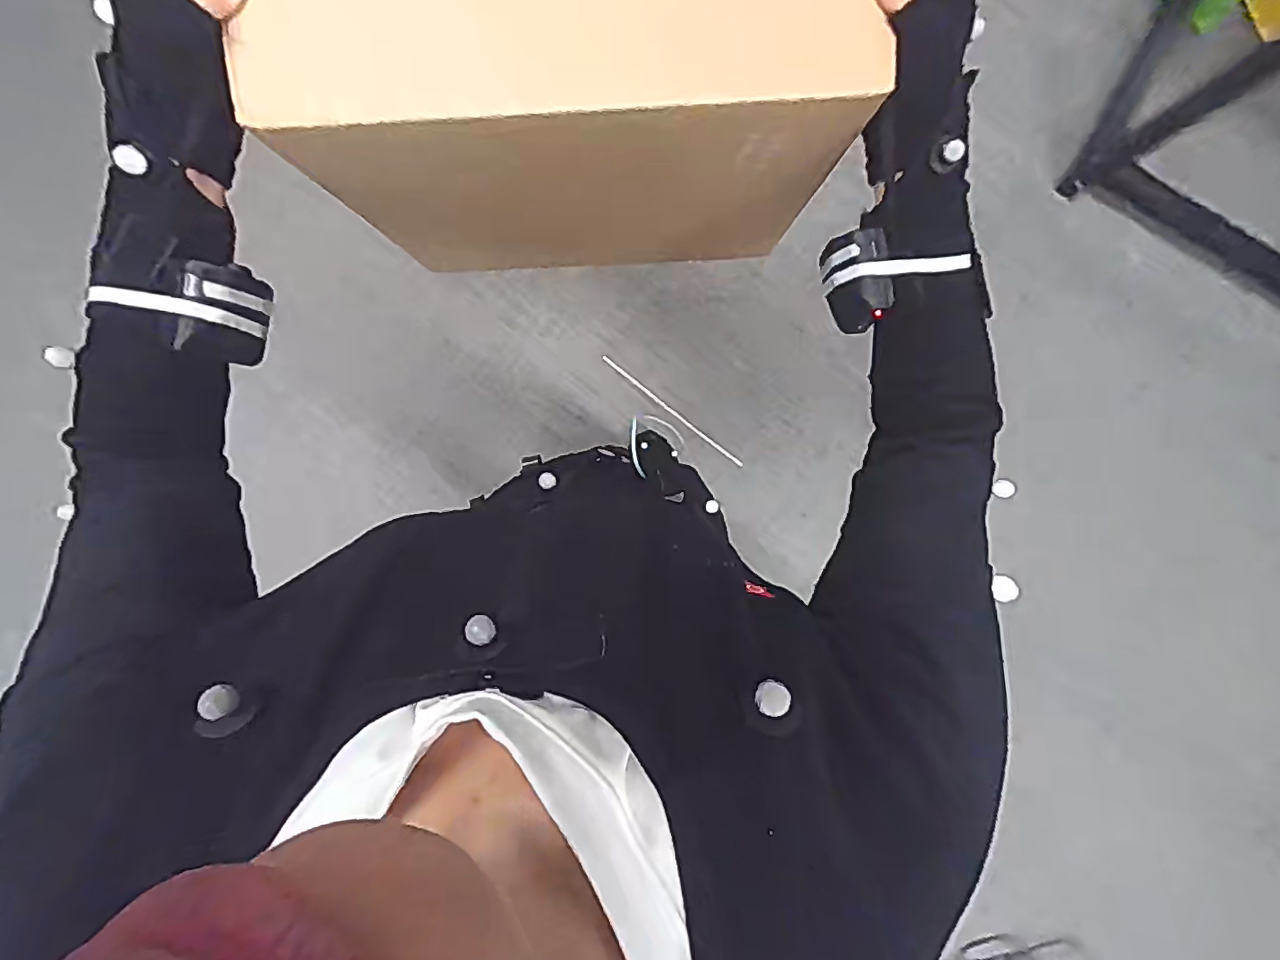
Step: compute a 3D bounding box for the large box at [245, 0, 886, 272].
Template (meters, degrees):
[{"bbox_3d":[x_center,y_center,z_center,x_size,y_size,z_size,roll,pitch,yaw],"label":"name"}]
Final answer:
[{"bbox_3d":[-0.057,-0.399,0.479,0.408,0.320,0.320,-4,96,-1],"label":"large box"}]
